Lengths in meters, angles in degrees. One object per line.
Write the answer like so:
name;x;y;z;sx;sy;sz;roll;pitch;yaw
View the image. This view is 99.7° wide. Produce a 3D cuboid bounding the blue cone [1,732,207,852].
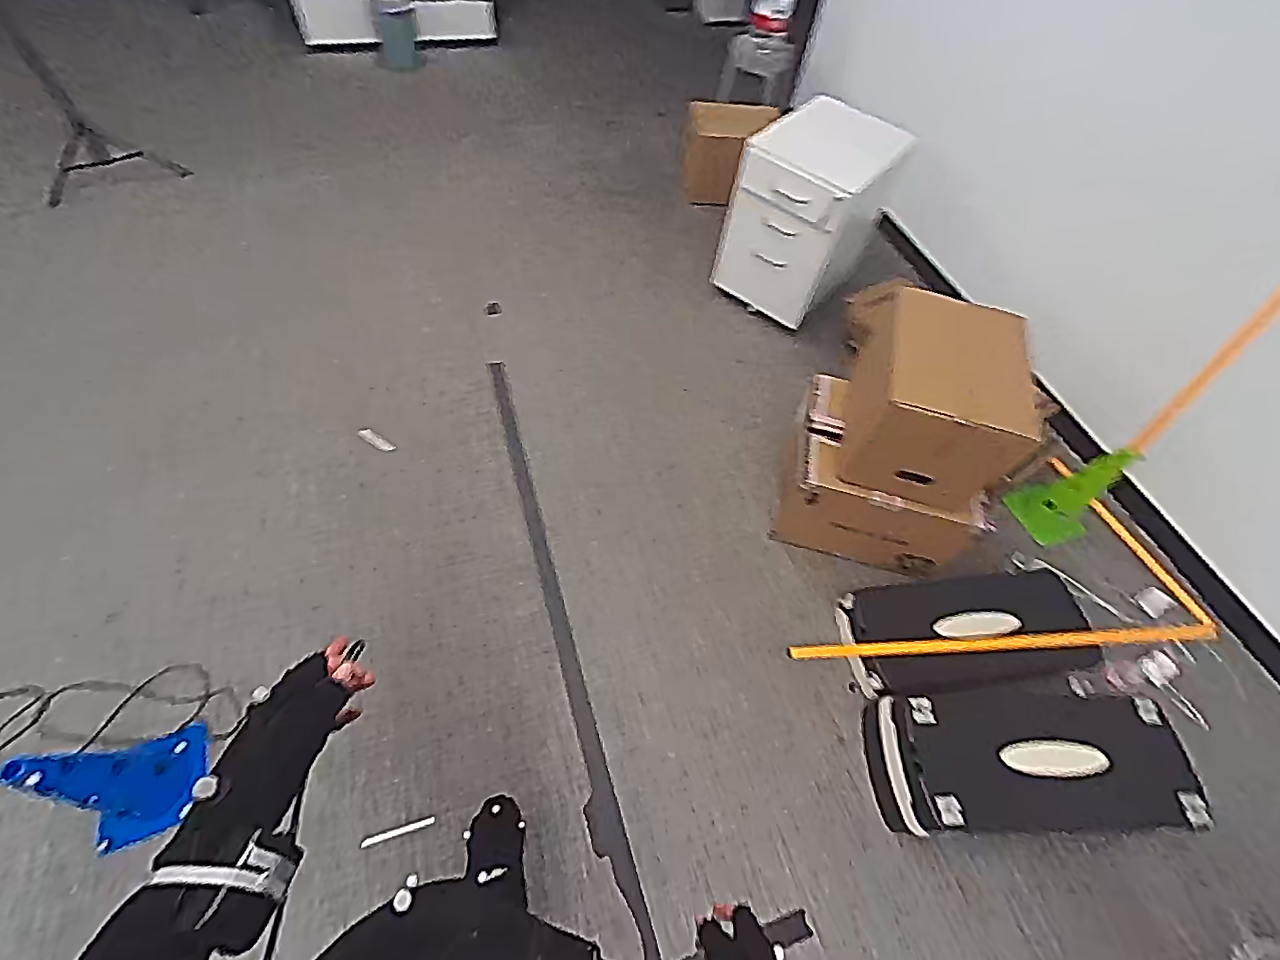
blue cone;-1.038;0.580;1.037;0.193;0.380;0.192;-16;61;-16
